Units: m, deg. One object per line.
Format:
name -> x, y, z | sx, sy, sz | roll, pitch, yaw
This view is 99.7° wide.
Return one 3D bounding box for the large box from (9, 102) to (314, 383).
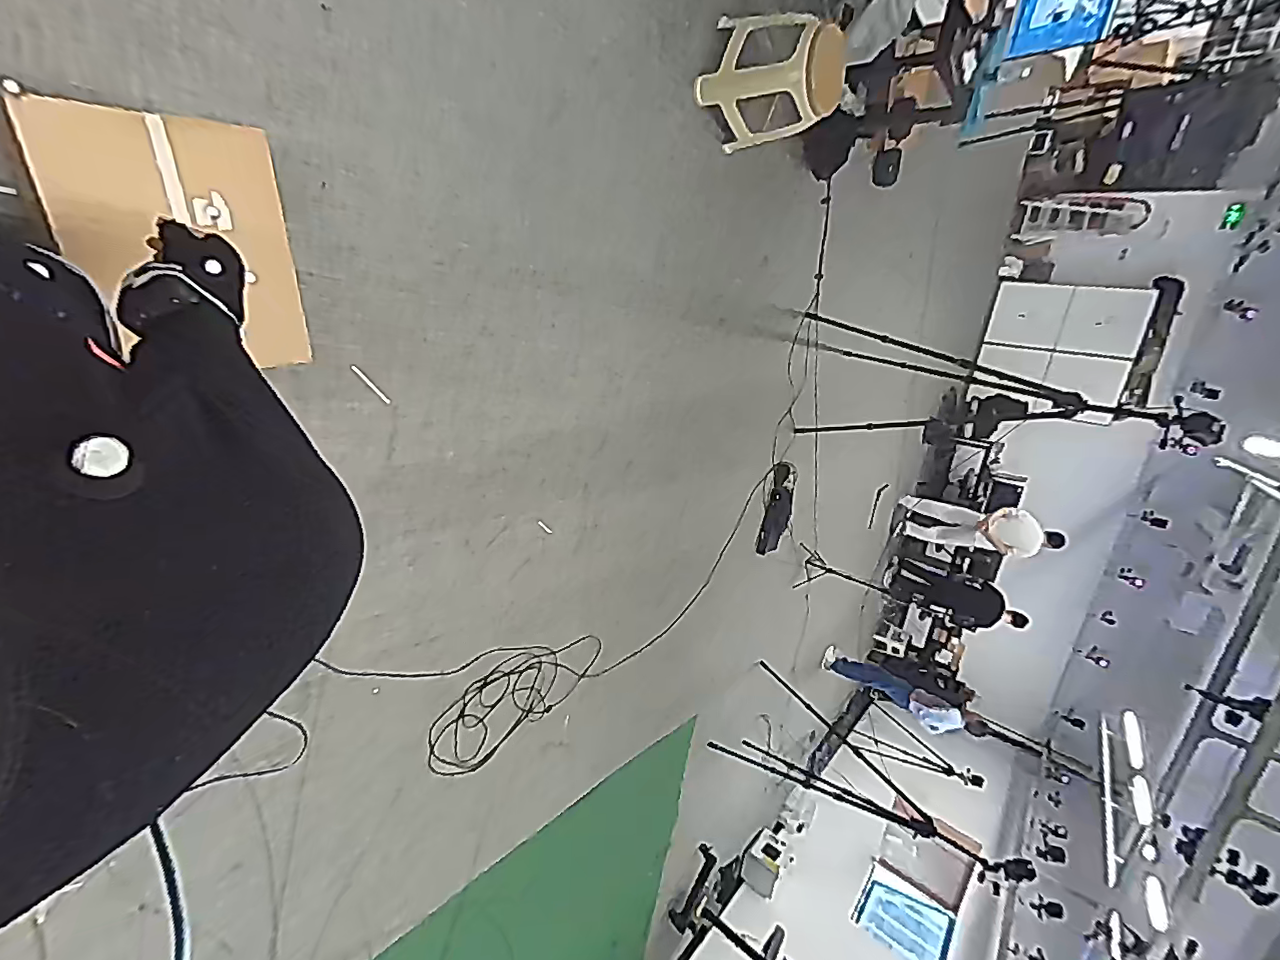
large box -> -0.879, -0.425, 1.019 | 0.320, 0.320, 0.408 | -24, 123, -44
